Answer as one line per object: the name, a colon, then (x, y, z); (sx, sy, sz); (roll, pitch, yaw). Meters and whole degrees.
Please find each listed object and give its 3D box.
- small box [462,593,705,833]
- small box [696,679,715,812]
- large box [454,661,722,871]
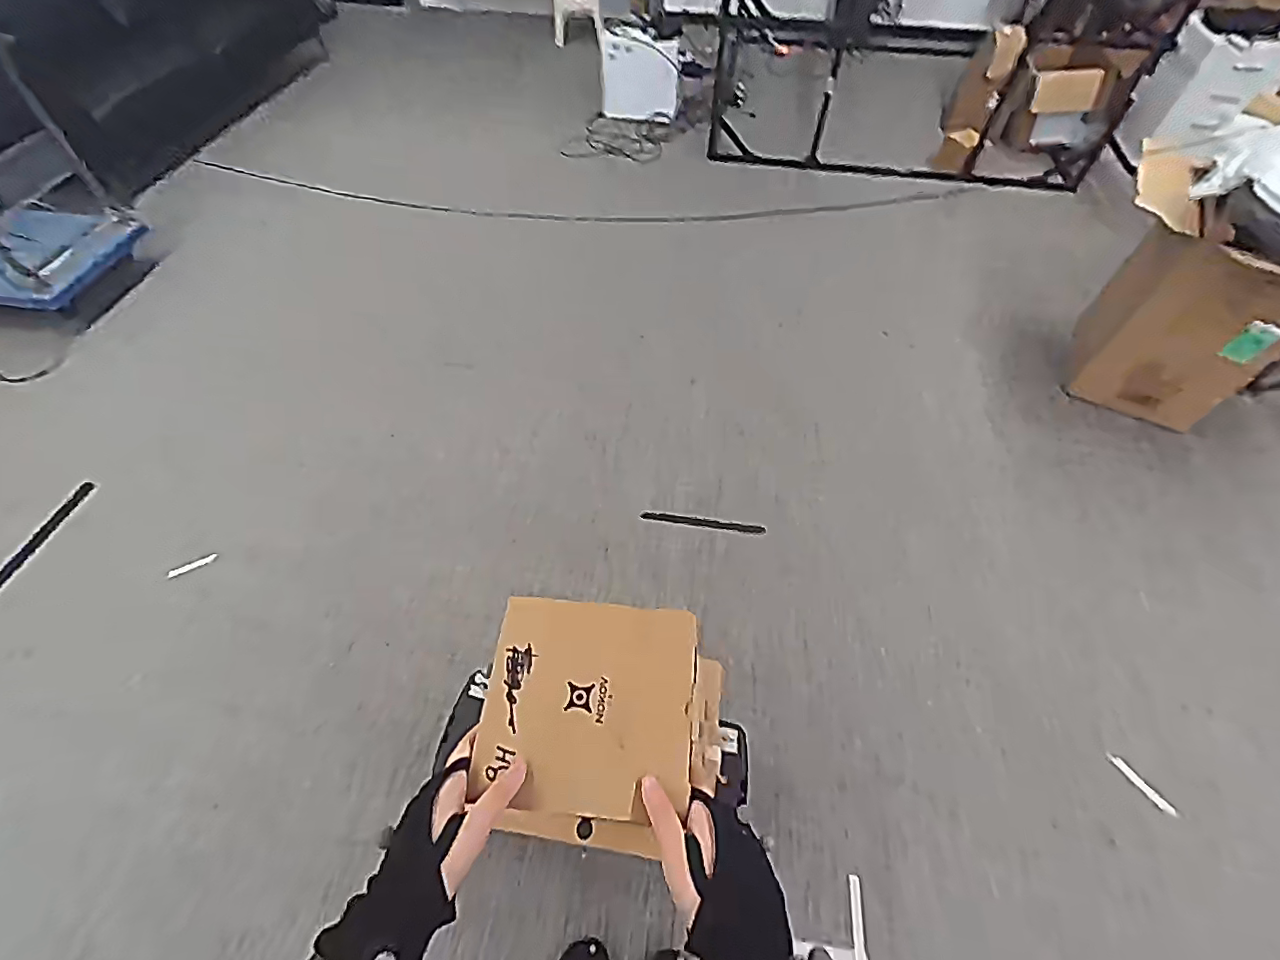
small box: (-0.040, 0.221, 0.507); (0.179, 0.176, 0.168); (6, 57, 3)
small box: (0.010, 0.390, 0.809); (0.179, 0.176, 0.168); (7, 55, 5)
large box: (-0.066, 0.517, 1.020); (0.408, 0.320, 0.320); (7, 54, 6)
